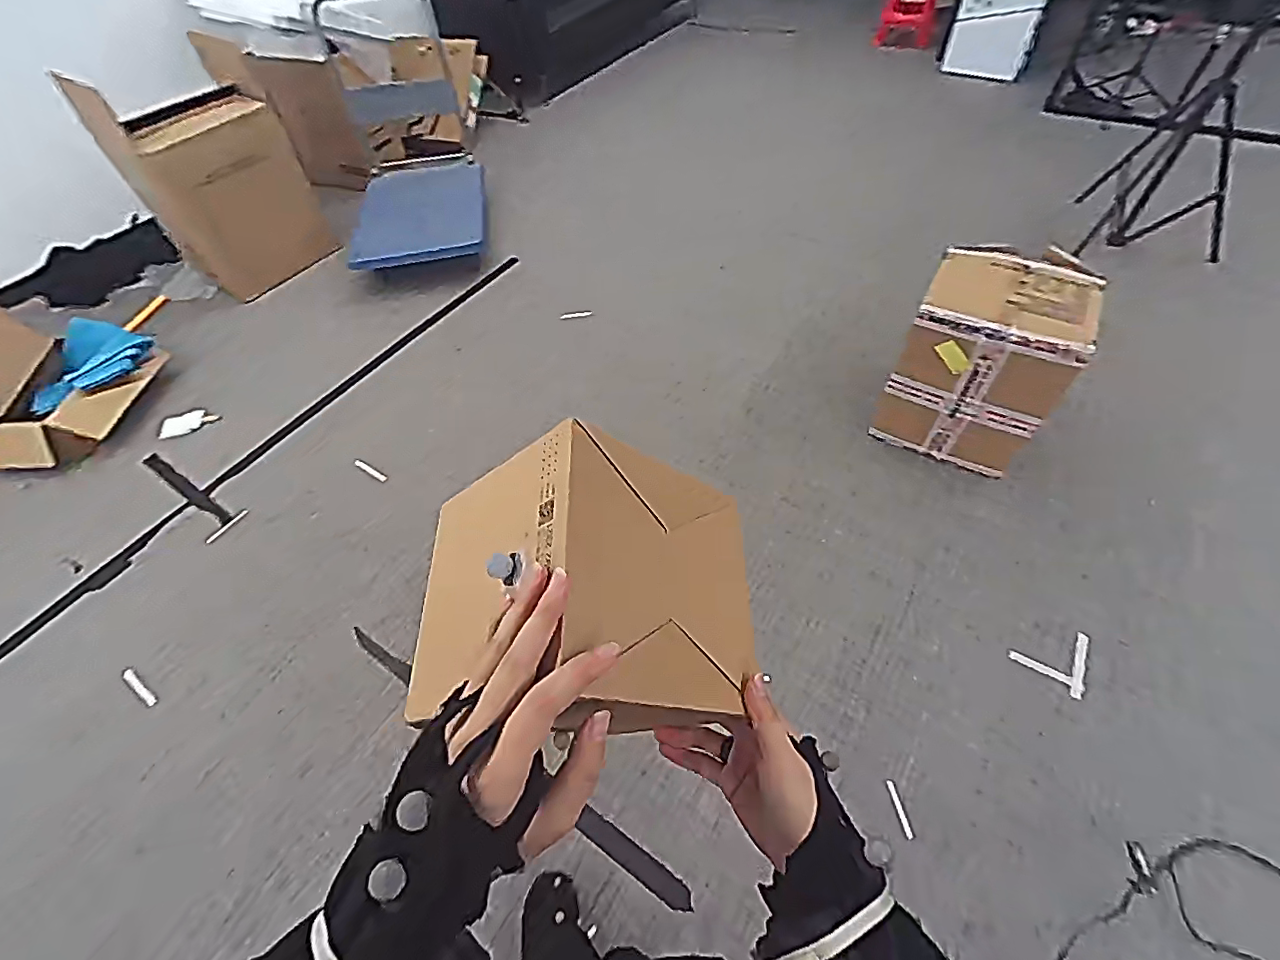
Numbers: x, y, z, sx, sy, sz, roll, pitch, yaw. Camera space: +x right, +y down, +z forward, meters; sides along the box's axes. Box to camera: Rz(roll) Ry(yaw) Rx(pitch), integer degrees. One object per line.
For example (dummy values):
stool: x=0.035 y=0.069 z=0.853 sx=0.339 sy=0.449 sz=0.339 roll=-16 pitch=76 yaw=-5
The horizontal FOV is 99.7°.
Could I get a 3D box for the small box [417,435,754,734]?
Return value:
small box: x=-0.034 y=0.094 z=0.407 sx=0.176 sy=0.179 sz=0.168 roll=-27 pitch=51 yaw=36
